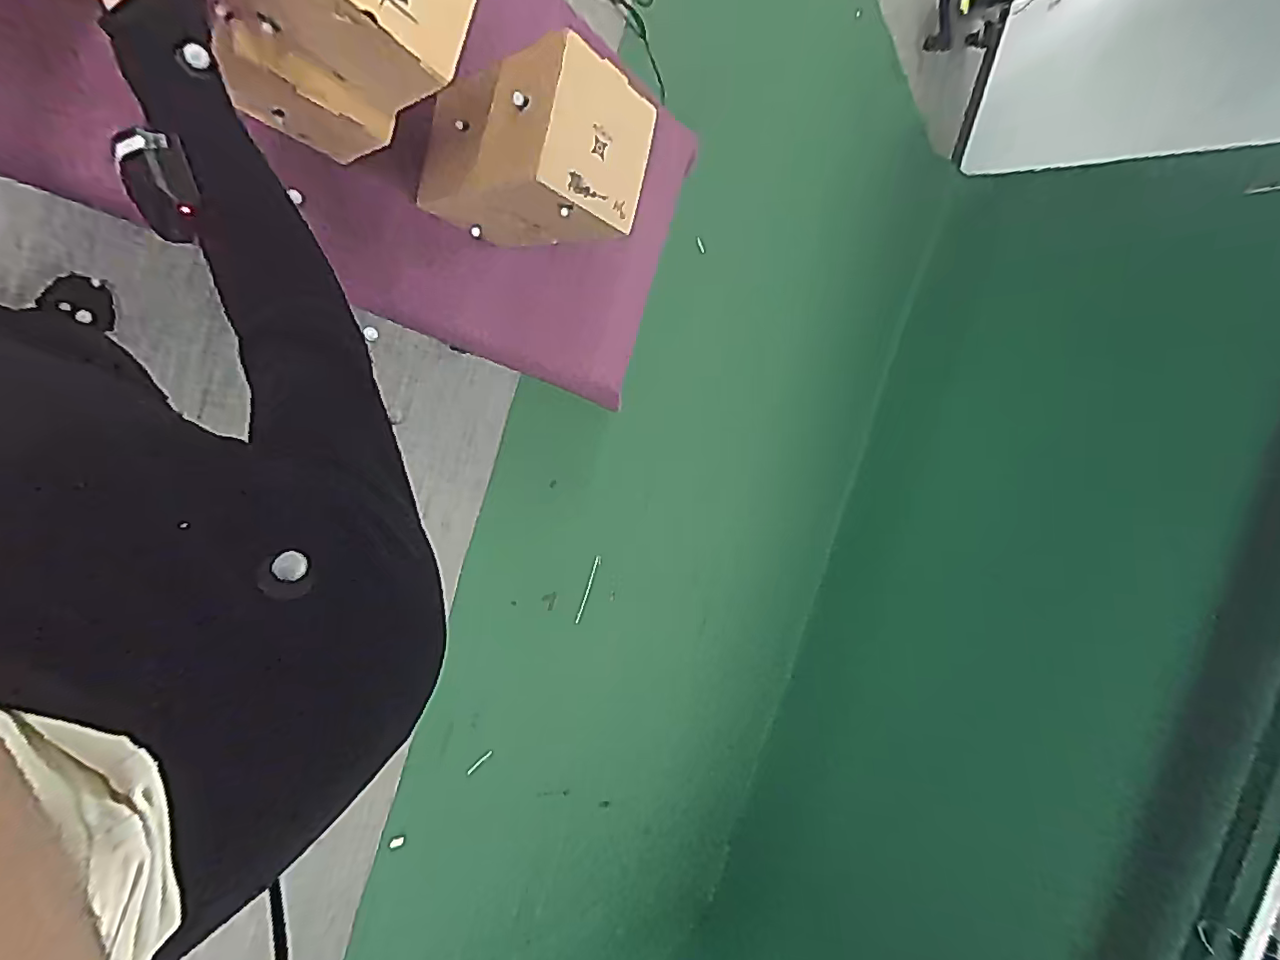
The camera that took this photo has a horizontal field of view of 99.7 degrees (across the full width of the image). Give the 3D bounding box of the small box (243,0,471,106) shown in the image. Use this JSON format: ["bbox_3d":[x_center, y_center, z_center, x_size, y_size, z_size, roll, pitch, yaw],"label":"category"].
[{"bbox_3d":[-0.279,-0.520,0.539,0.168,0.176,0.179,17,91,-49],"label":"small box"}]

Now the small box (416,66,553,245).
[{"bbox_3d":[-0.229,-0.491,0.851,0.168,0.176,0.179,9,97,-48],"label":"small box"}]

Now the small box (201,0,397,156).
[{"bbox_3d":[-0.401,-0.529,0.653,0.168,0.176,0.179,10,97,-49],"label":"small box"}]

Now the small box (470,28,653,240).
[{"bbox_3d":[-0.111,-0.452,0.744,0.168,0.176,0.179,7,98,-48],"label":"small box"}]
